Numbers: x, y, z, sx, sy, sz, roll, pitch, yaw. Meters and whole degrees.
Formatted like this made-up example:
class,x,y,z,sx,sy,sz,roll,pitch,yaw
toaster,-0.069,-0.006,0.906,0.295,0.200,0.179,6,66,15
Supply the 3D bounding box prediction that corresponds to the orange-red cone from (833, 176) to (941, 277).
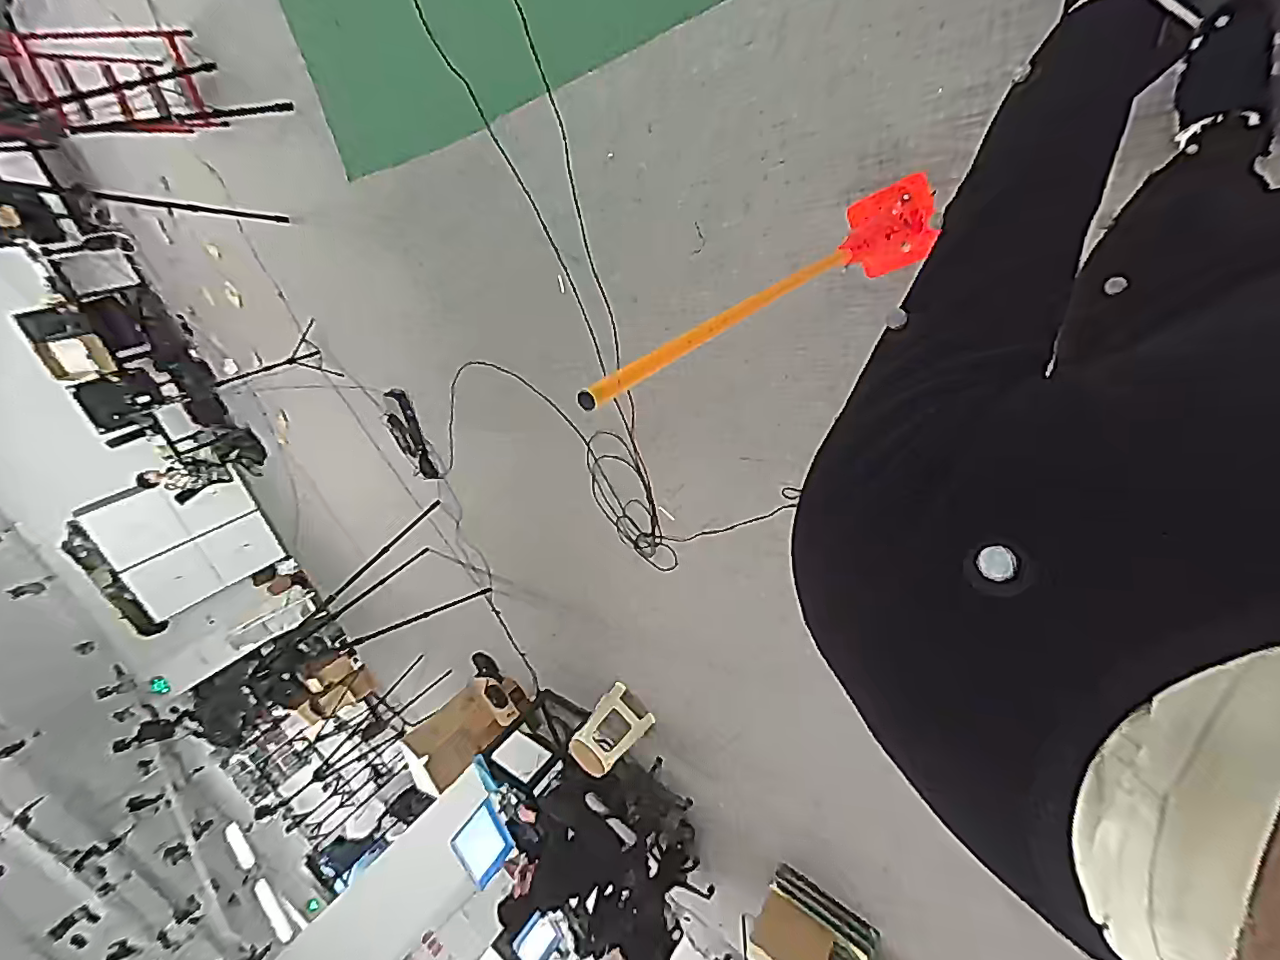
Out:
class,x,y,z,sx,sy,sz,roll,pitch,yaw
orange-red cone,0.541,-0.561,1.273,0.199,0.360,0.198,-8,112,48
